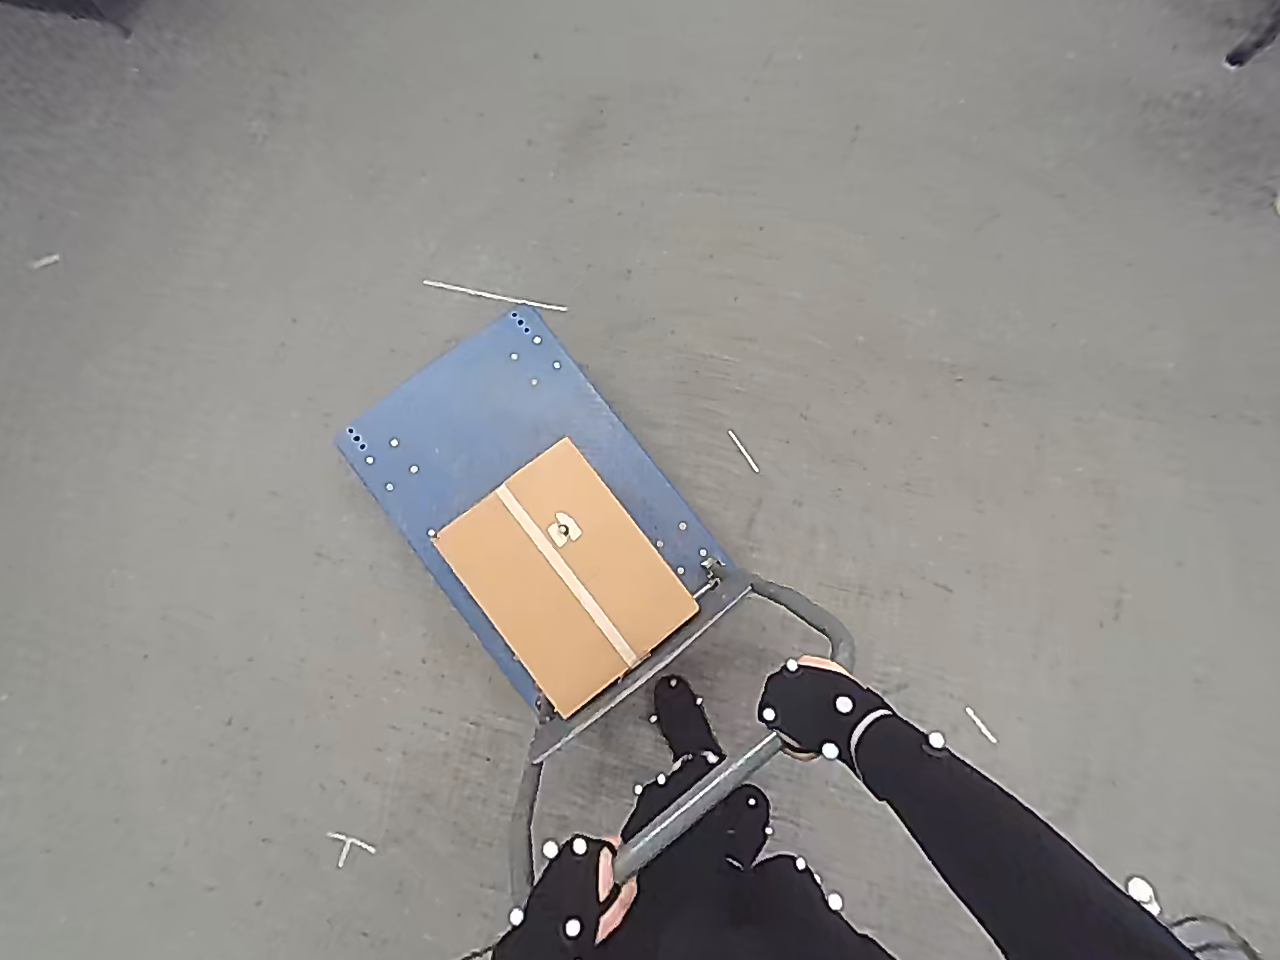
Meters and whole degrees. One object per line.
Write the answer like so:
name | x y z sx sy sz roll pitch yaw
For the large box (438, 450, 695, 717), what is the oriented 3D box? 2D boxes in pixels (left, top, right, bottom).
large box | -0.137 0.204 1.148 0.320 0.320 0.408 -38 85 -6
